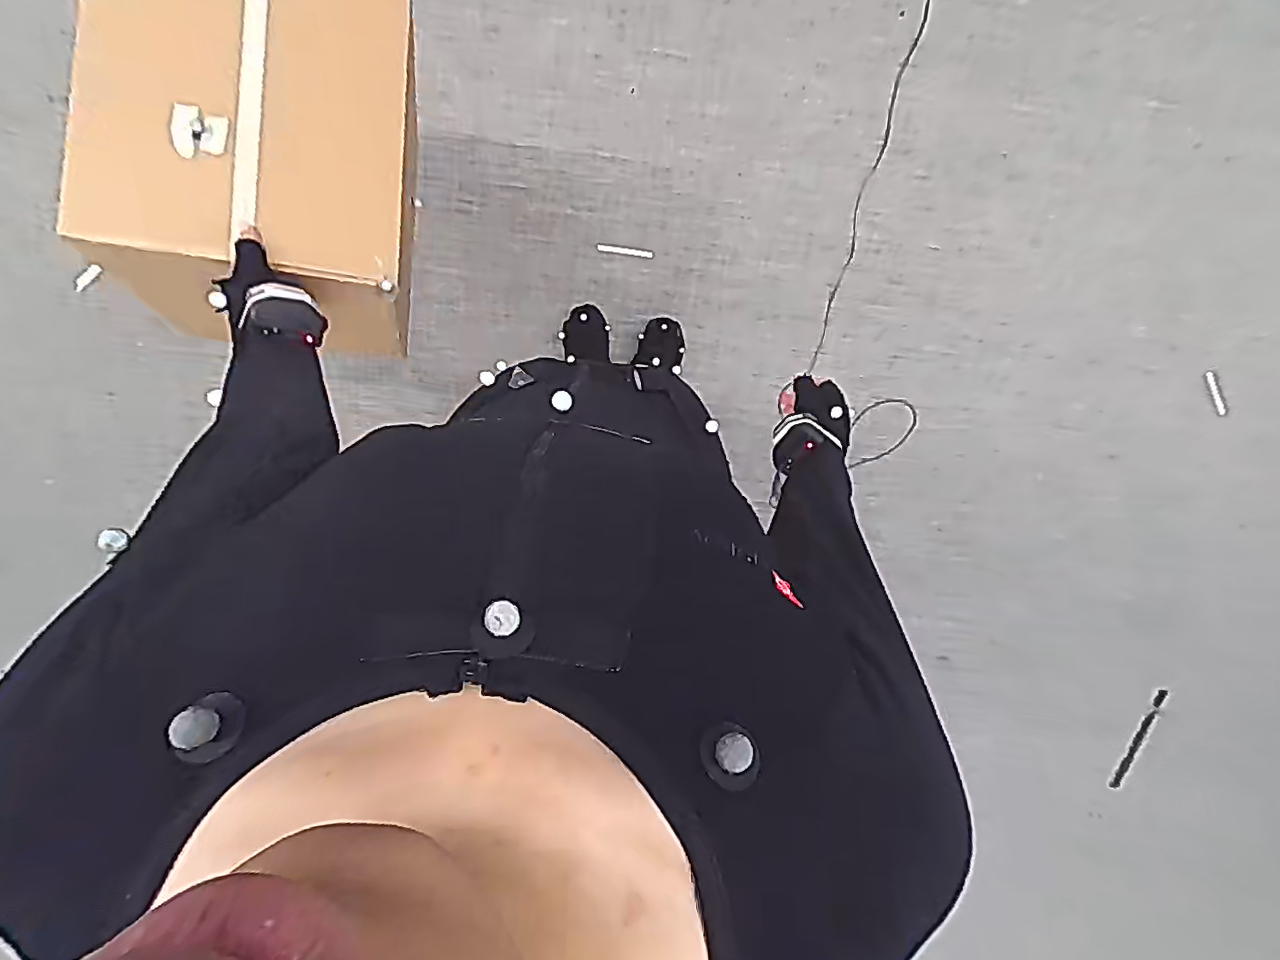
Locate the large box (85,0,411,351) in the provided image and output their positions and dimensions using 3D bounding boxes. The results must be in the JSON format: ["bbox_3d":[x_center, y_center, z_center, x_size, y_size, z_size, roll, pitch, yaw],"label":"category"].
[{"bbox_3d":[-0.496,-0.432,0.766,0.320,0.320,0.408,1,86,-21],"label":"large box"}]
